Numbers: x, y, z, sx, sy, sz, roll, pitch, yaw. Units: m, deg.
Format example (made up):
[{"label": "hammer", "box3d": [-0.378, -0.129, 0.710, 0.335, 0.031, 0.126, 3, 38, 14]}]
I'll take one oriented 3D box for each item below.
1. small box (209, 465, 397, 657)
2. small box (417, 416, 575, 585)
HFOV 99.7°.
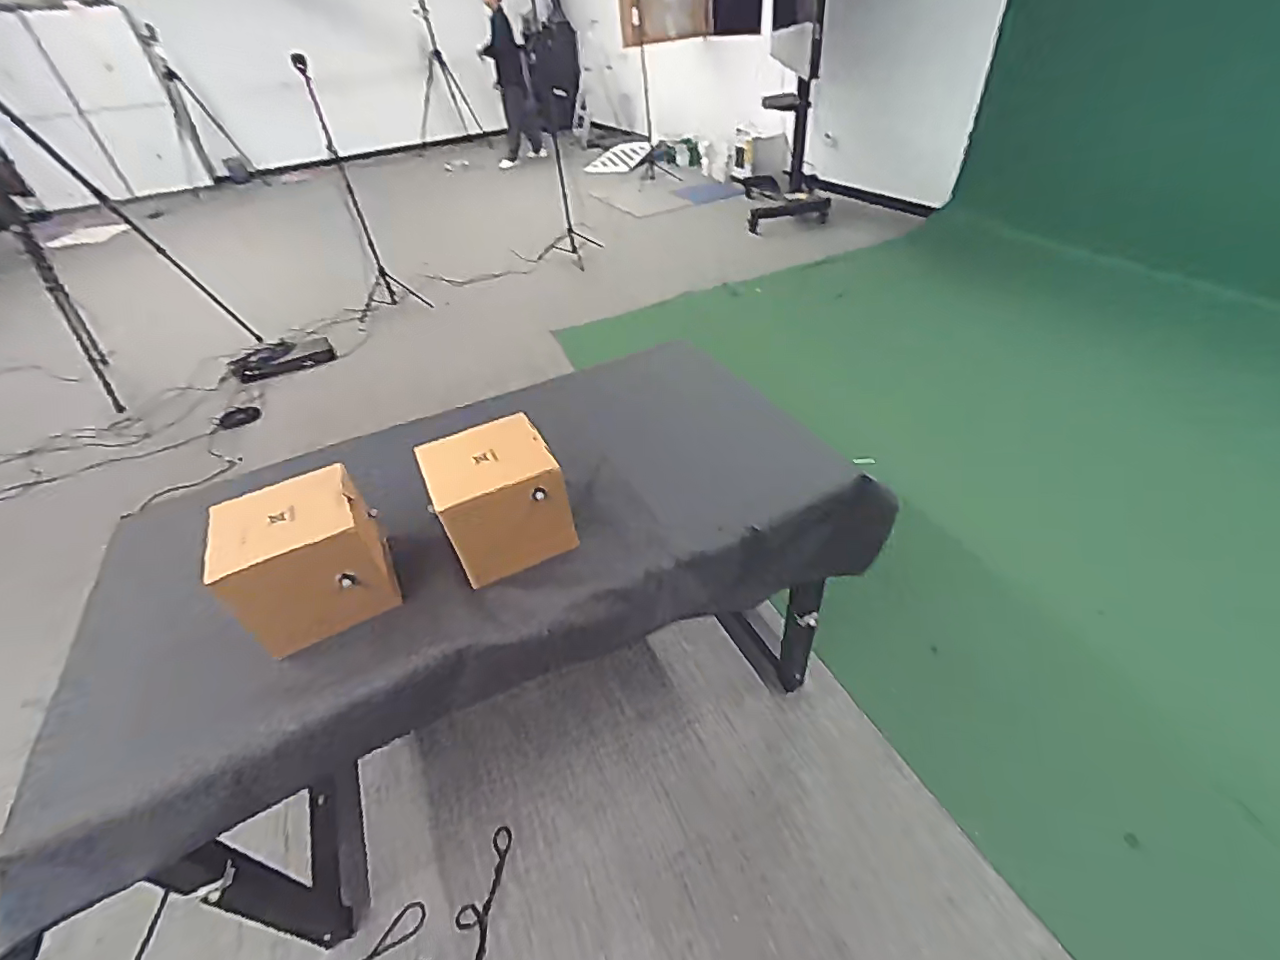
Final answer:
[{"label": "small box", "box3d": [-0.468, 0.114, 0.774, 0.179, 0.176, 0.168, -25, 42, -19]}, {"label": "small box", "box3d": [-0.218, 0.032, 0.838, 0.179, 0.176, 0.168, -22, 42, -18]}]
